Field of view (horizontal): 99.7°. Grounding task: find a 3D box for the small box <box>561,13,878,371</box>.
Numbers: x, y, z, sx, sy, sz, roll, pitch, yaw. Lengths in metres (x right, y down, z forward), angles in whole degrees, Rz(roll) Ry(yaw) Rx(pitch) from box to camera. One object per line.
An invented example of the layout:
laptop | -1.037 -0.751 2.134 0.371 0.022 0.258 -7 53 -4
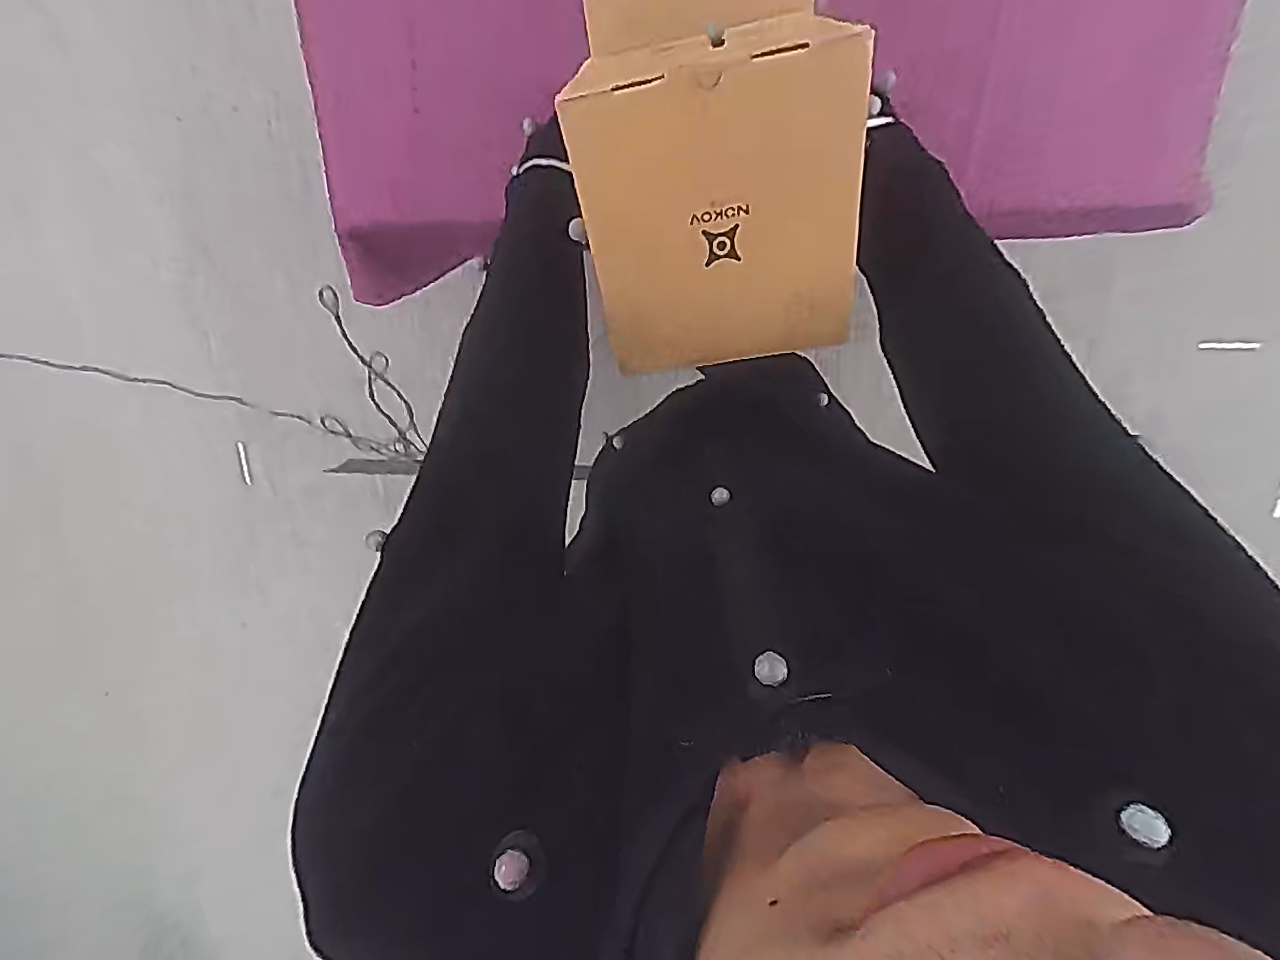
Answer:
small box | 0.055 -0.206 0.390 0.168 0.176 0.179 -7 131 8
